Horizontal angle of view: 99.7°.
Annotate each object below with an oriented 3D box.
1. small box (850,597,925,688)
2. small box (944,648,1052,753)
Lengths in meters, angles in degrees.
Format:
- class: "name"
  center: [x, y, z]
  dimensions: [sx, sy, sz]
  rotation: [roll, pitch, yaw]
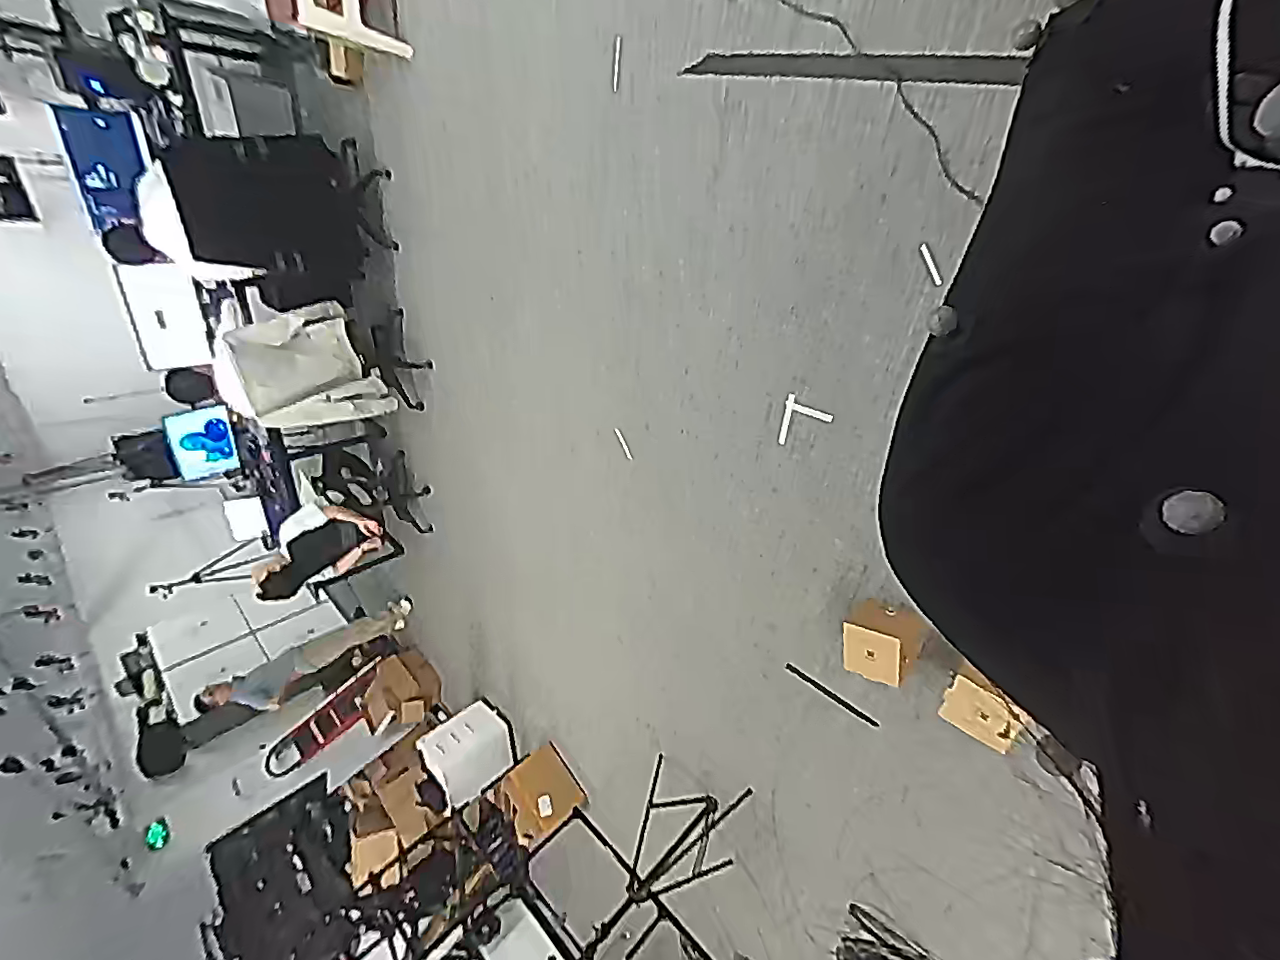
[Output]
- class: "small box"
  center: [0.754, 0.487, 1.646]
  dimensions: [0.168, 0.176, 0.179]
  rotation: [10, 114, 43]
- class: "small box"
  center: [0.969, 0.585, 1.465]
  dimensions: [0.179, 0.176, 0.168]
  rotation: [30, 128, 35]
